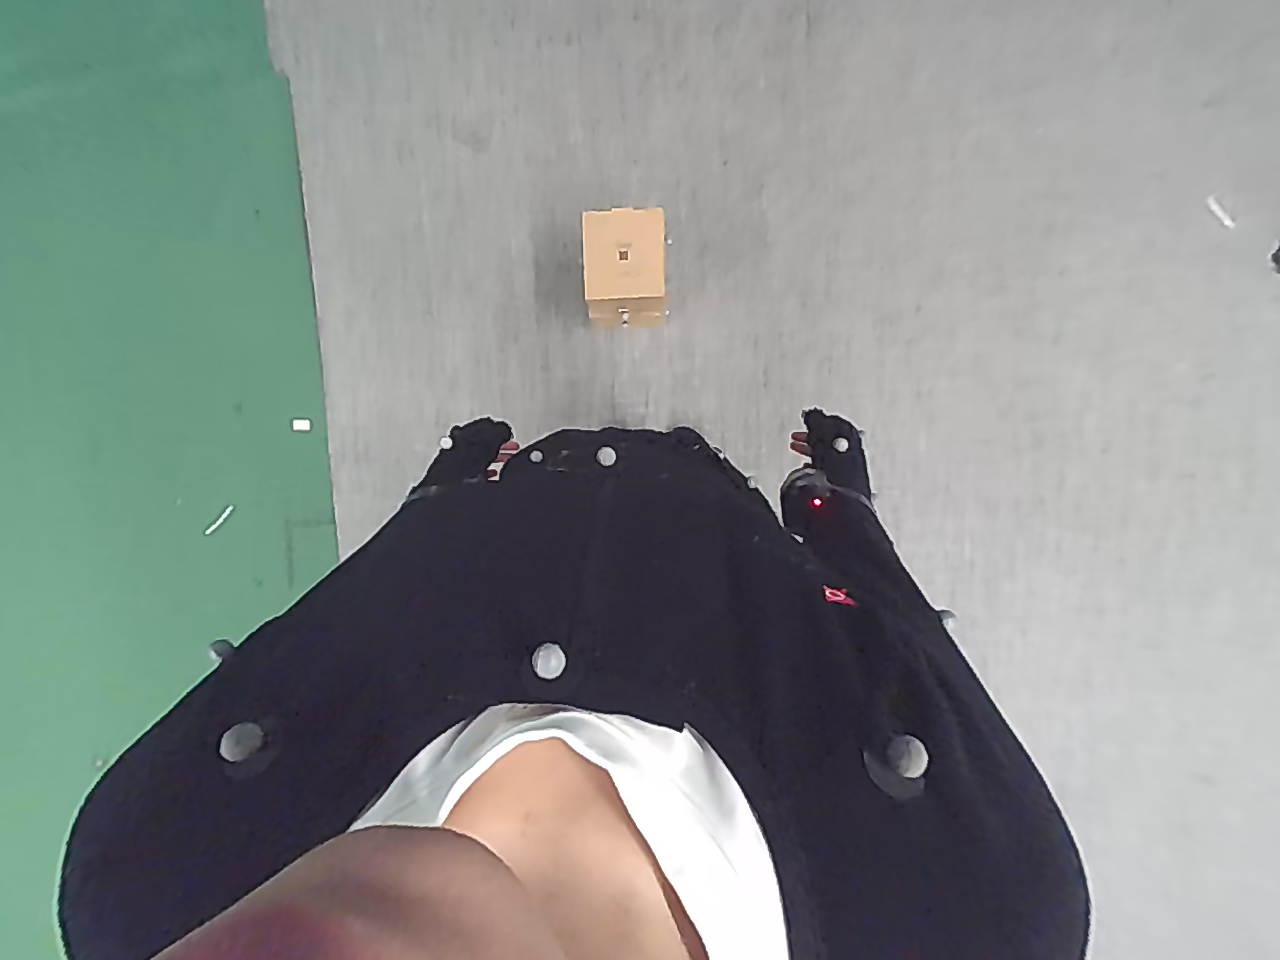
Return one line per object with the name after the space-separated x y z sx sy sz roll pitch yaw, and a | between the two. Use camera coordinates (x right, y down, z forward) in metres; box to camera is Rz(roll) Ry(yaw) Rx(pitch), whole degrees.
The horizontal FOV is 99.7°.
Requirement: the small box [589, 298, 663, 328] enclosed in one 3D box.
-0.030 -0.475 1.339 0.179 0.176 0.168 -1 95 5 | small box

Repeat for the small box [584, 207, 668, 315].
-0.025 -0.468 1.177 0.168 0.176 0.179 -1 96 5 | small box
